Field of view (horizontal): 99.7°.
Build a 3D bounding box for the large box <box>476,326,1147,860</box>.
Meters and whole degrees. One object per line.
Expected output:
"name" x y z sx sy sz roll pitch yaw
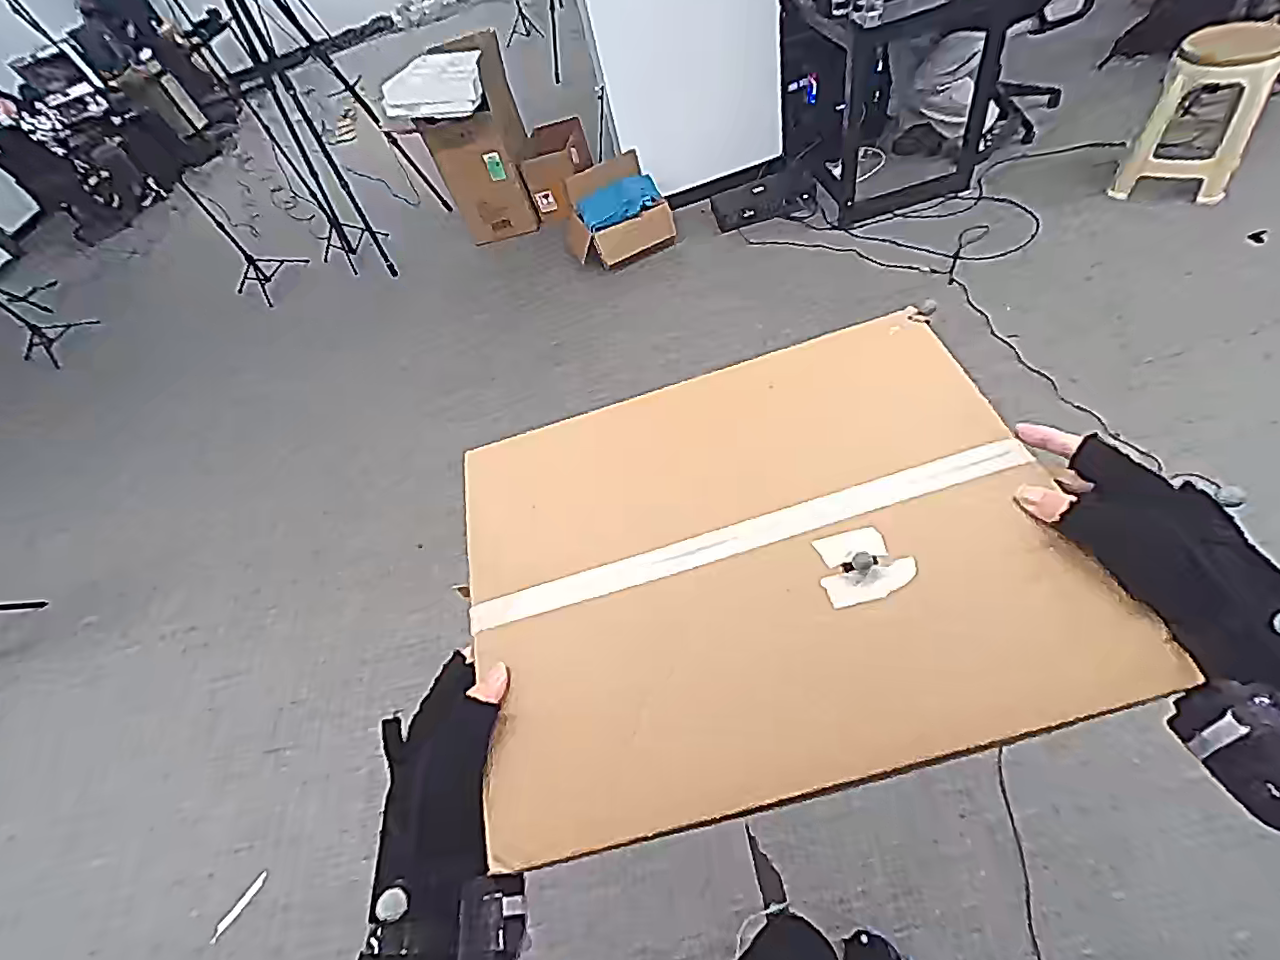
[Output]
"large box" 0.102 0.124 0.525 0.408 0.320 0.320 -18 57 3
